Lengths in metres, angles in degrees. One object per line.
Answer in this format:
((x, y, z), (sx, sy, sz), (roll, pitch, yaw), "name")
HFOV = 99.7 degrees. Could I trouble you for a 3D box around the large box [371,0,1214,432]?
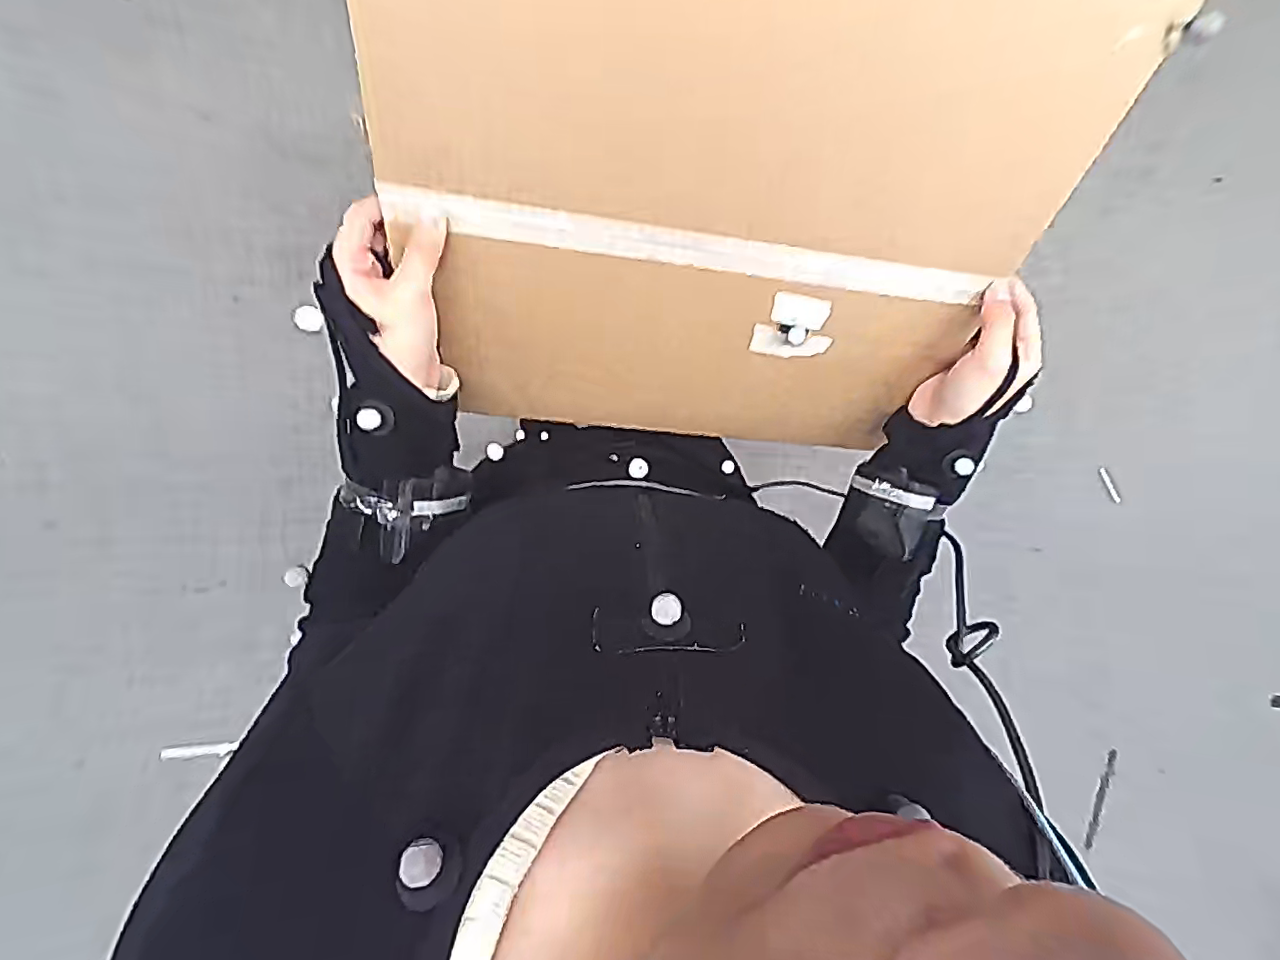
((0.051, -0.263, 0.424), (0.408, 0.320, 0.320), (4, 137, -10), "large box")
